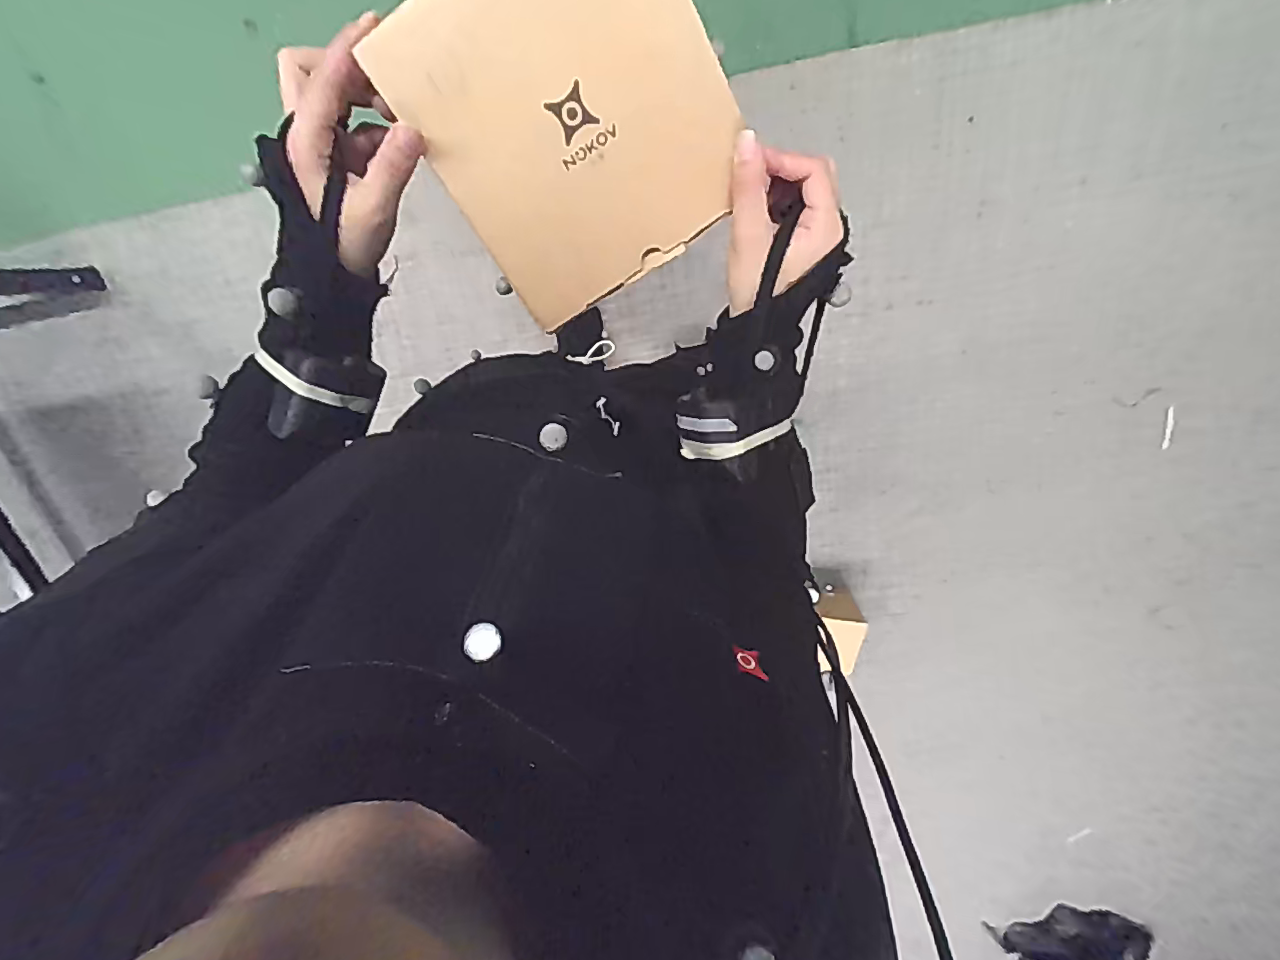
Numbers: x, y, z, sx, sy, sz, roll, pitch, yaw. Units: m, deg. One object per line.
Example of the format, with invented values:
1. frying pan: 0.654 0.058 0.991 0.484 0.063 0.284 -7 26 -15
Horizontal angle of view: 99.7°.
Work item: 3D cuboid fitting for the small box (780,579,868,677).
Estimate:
1. small box: 0.482 0.393 1.450 0.168 0.176 0.179 7 111 0
